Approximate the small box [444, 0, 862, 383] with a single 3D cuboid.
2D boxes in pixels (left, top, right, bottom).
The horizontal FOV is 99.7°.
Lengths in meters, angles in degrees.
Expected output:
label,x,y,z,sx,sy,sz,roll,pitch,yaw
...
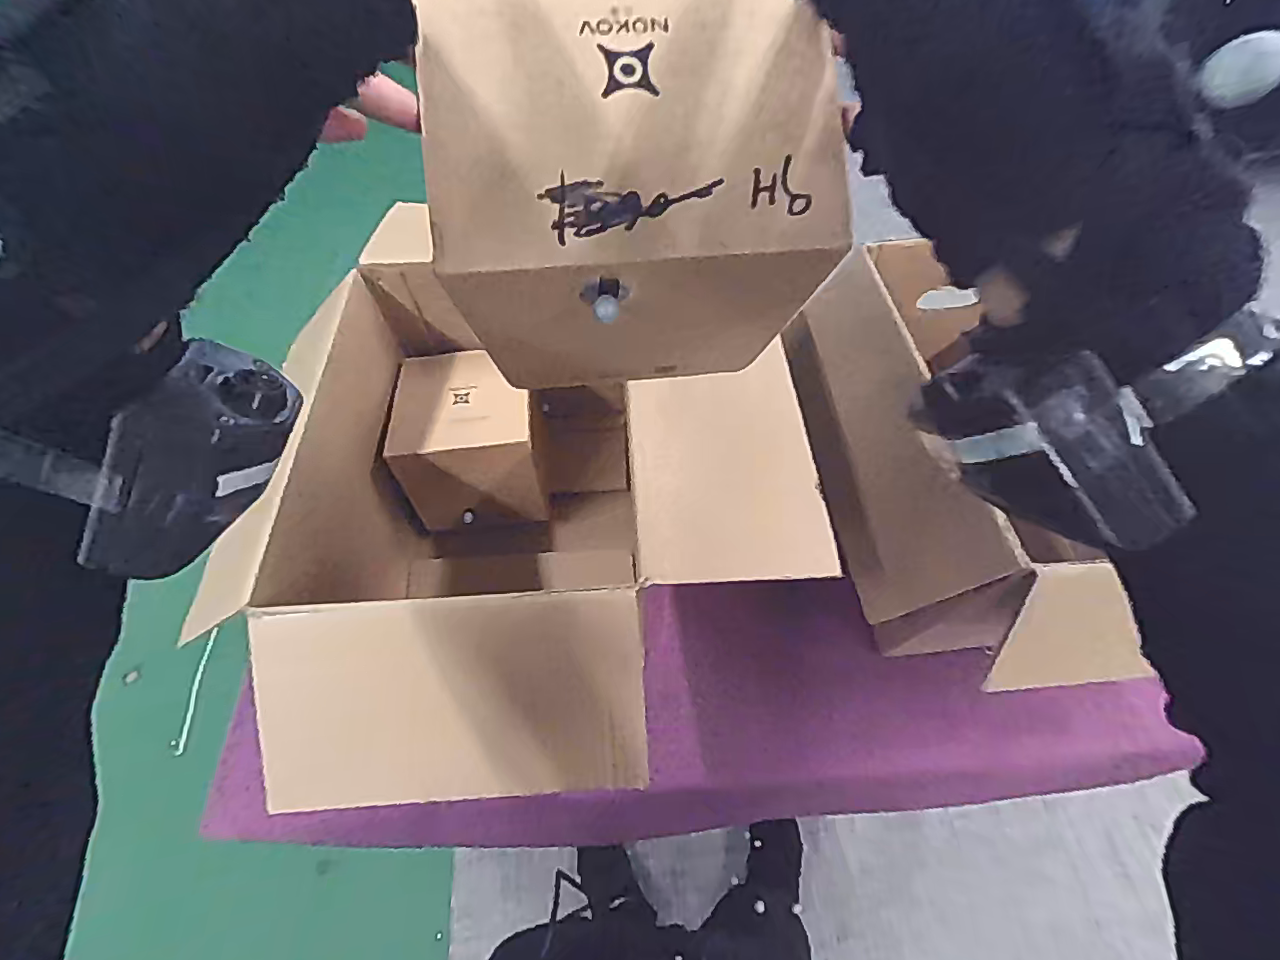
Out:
label,x,y,z,sx,sy,sz,roll,pitch,yaw
small box,-0.003,-0.167,0.302,0.168,0.176,0.179,-5,85,-3
